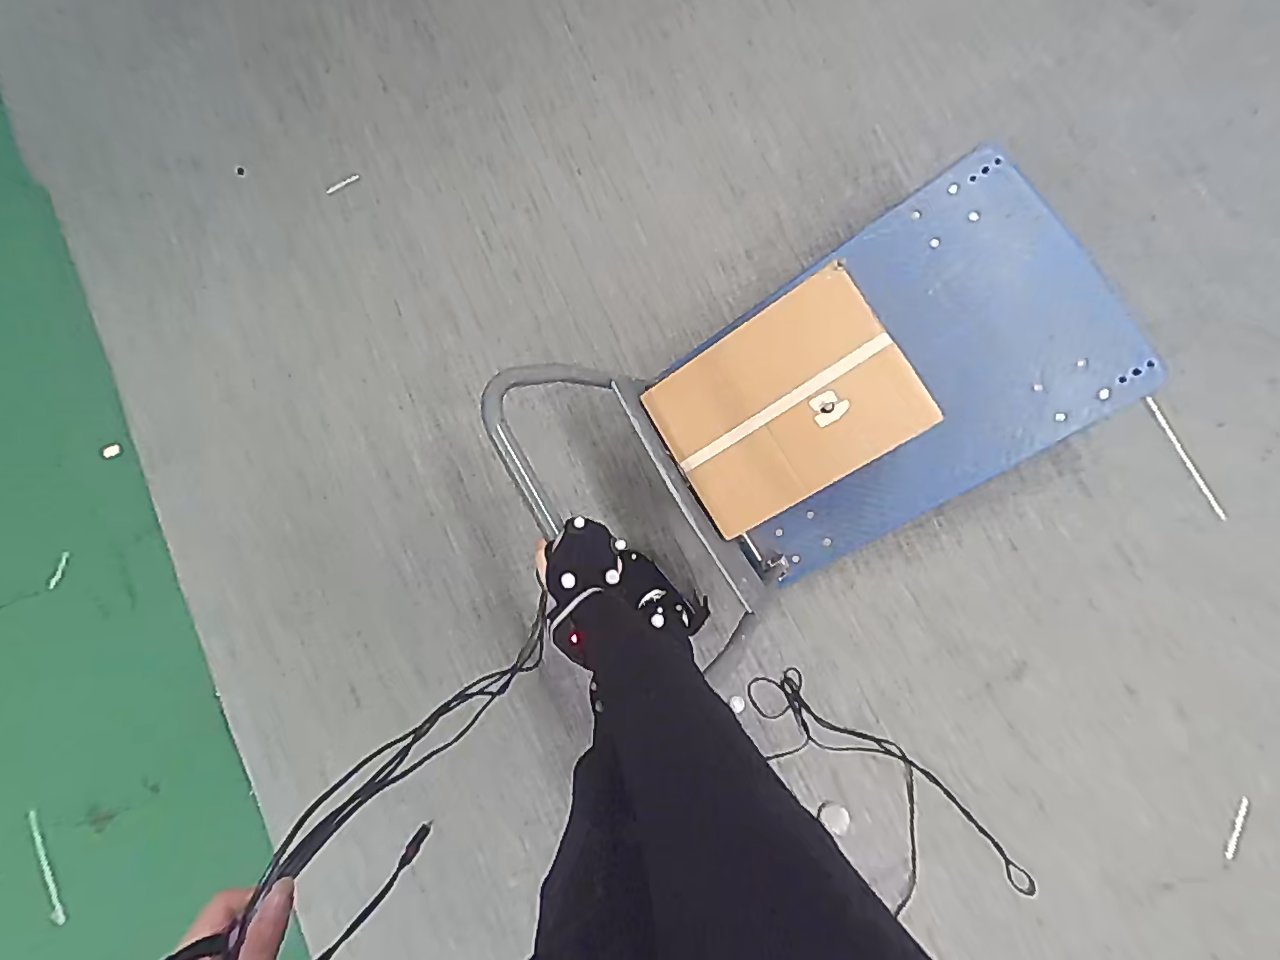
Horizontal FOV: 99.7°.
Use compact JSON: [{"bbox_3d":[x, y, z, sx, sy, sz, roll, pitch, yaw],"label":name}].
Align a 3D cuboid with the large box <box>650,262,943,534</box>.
[{"bbox_3d":[0.295,-0.135,1.069,0.408,0.320,0.320,-32,83,17],"label":"large box"}]
